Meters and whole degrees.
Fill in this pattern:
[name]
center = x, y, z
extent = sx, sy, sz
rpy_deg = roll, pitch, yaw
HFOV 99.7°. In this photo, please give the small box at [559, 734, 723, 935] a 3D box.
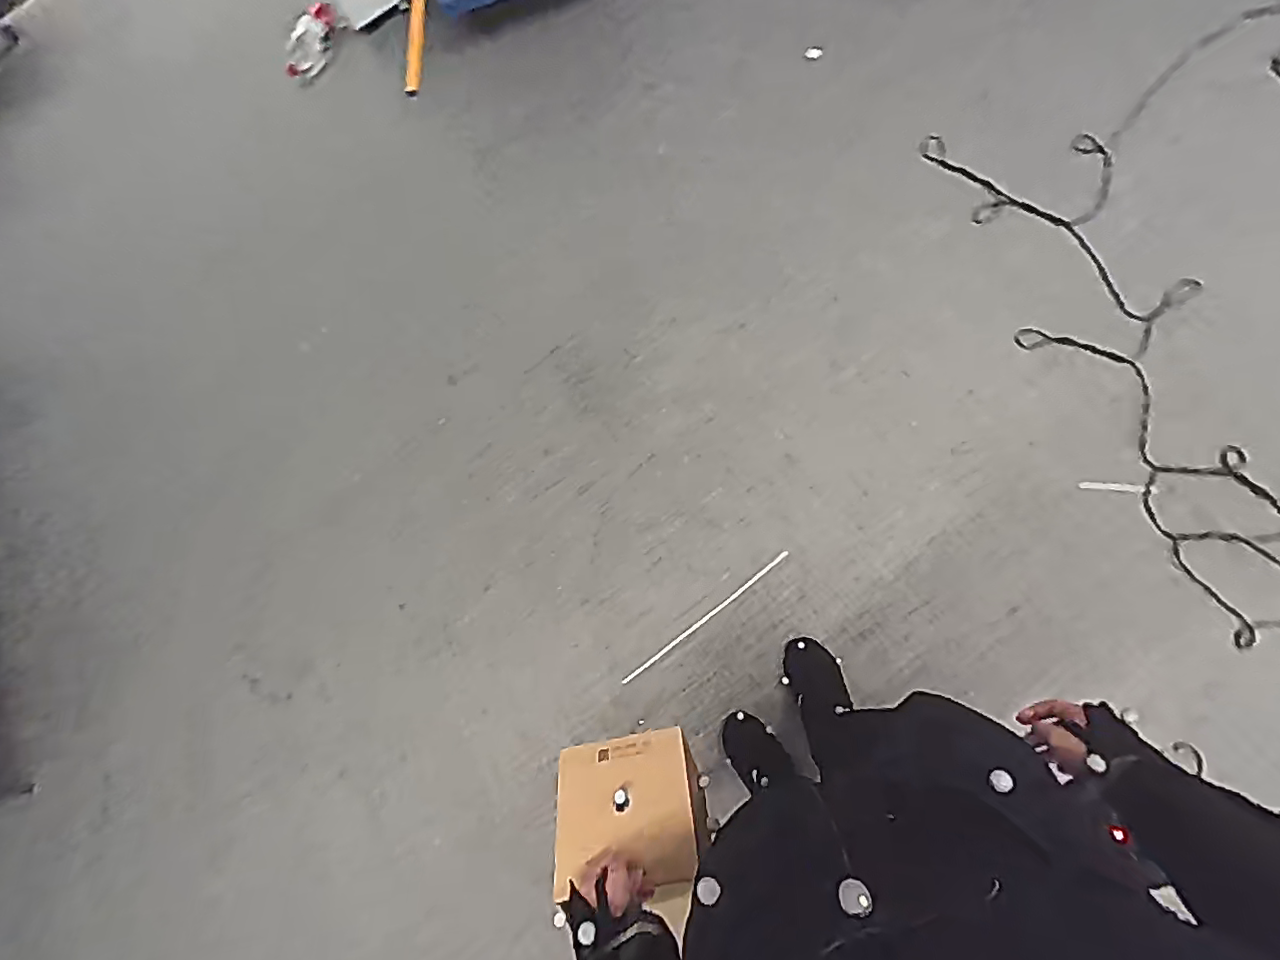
[small box]
center = 0.001, 0.446, 0.694
extent = 0.168, 0.179, 0.176
rpy_deg = -13, 38, 5
